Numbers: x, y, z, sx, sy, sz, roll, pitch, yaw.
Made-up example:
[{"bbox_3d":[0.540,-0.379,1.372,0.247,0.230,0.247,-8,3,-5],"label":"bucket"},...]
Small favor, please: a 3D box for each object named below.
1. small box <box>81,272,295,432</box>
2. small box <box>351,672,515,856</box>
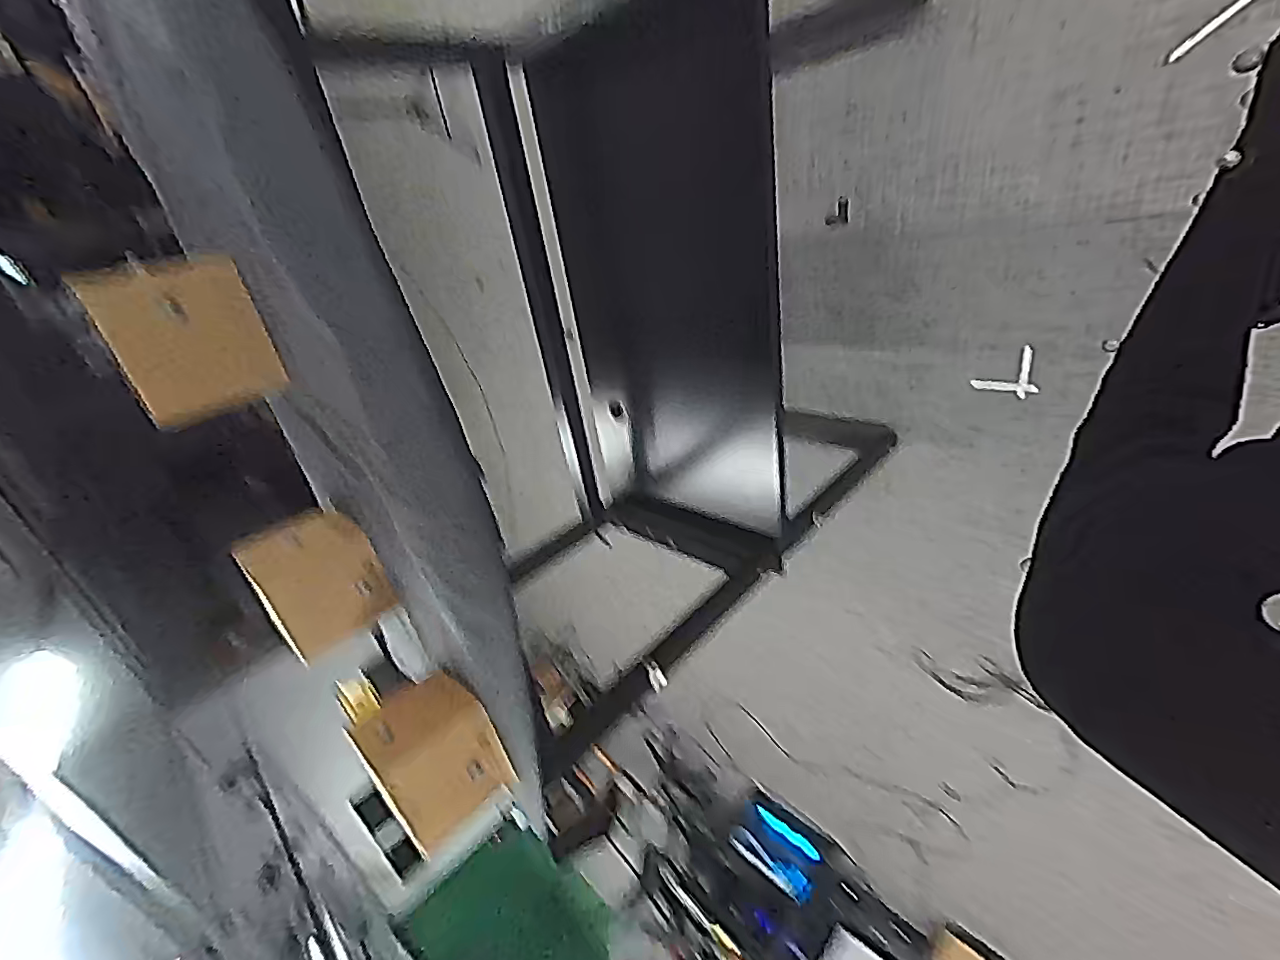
[{"bbox_3d":[-0.631,-0.192,0.766,0.168,0.176,0.179,20,130,42],"label":"small box"},{"bbox_3d":[-0.334,0.446,0.884,0.179,0.176,0.168,6,119,47],"label":"small box"}]
